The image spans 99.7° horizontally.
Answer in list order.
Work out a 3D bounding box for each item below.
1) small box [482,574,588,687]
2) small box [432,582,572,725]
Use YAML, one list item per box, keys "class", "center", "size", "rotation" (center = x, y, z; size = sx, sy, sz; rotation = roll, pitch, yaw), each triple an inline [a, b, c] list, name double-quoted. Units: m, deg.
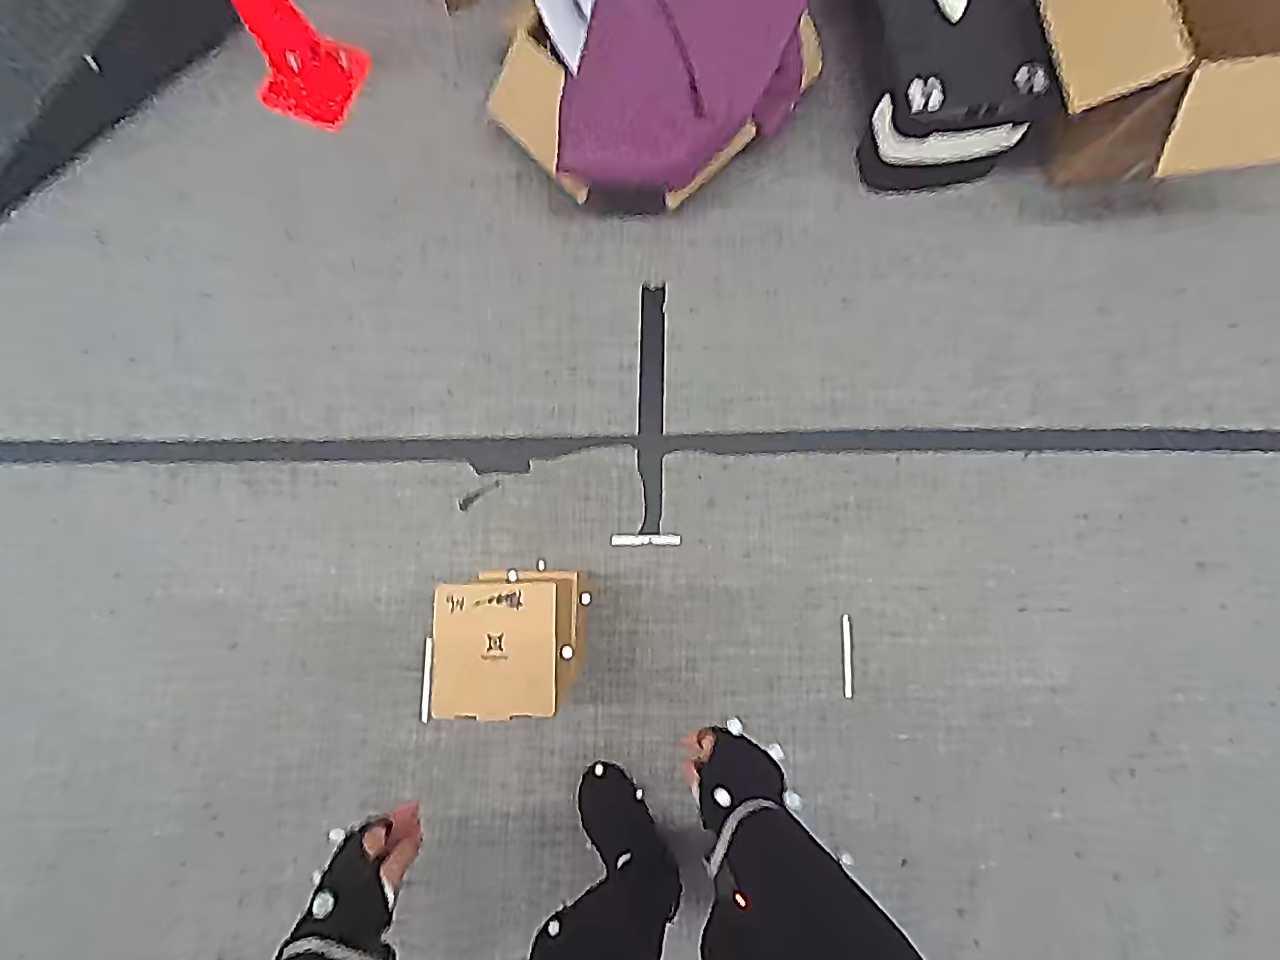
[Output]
- class: "small box"
  center: [-0.185, 0.259, 0.965]
  size: [0.168, 0.176, 0.179]
  rotation: [1, 82, 1]
- class: "small box"
  center: [-0.192, 0.246, 0.801]
  size: [0.168, 0.176, 0.179]
  rotation: [-1, 82, 0]
